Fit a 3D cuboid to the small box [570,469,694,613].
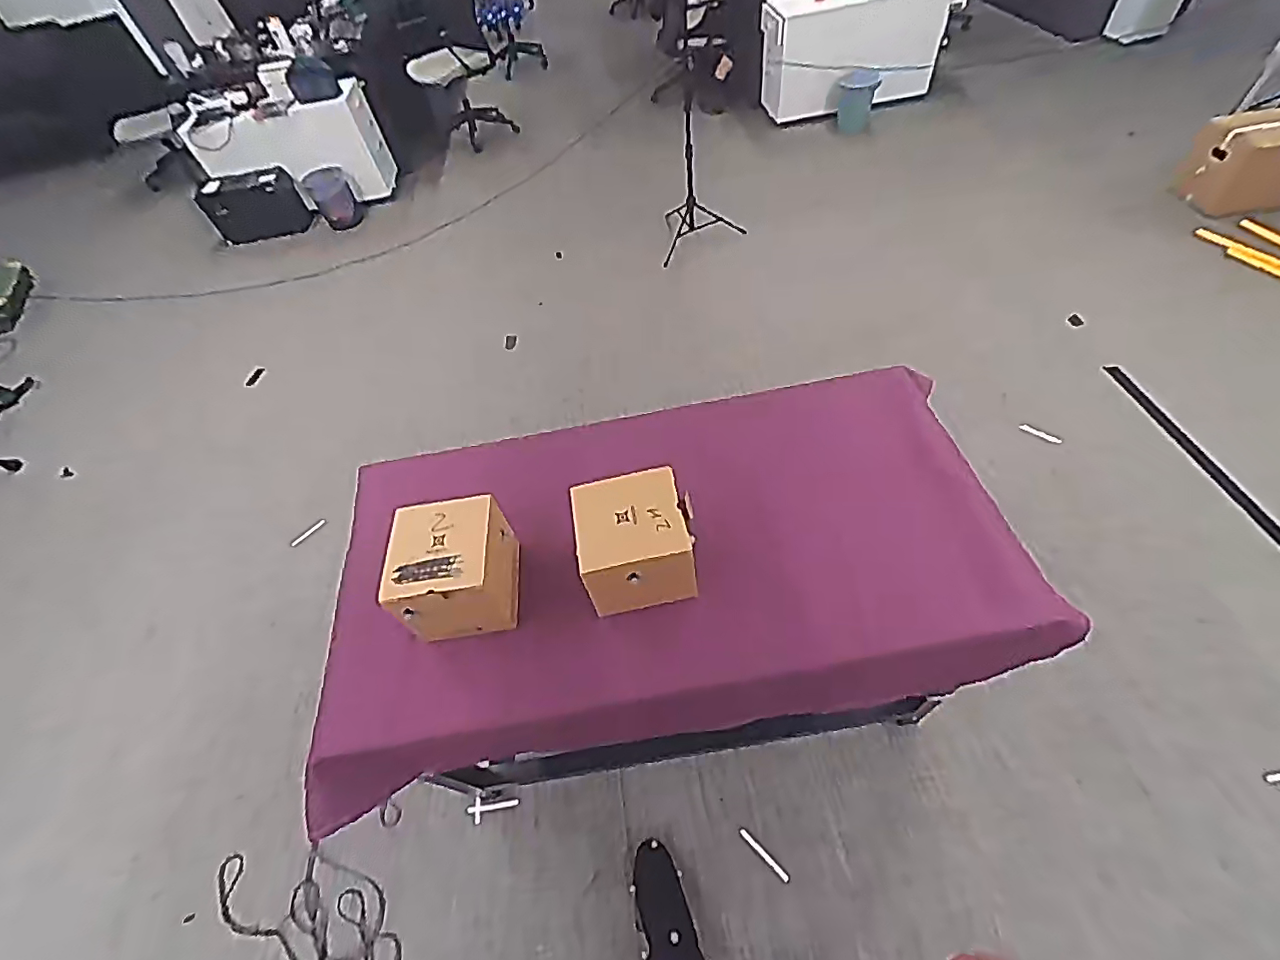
[{"bbox_3d":[-0.011,0.109,0.923,0.179,0.176,0.168,-12,53,-1],"label":"small box"}]
